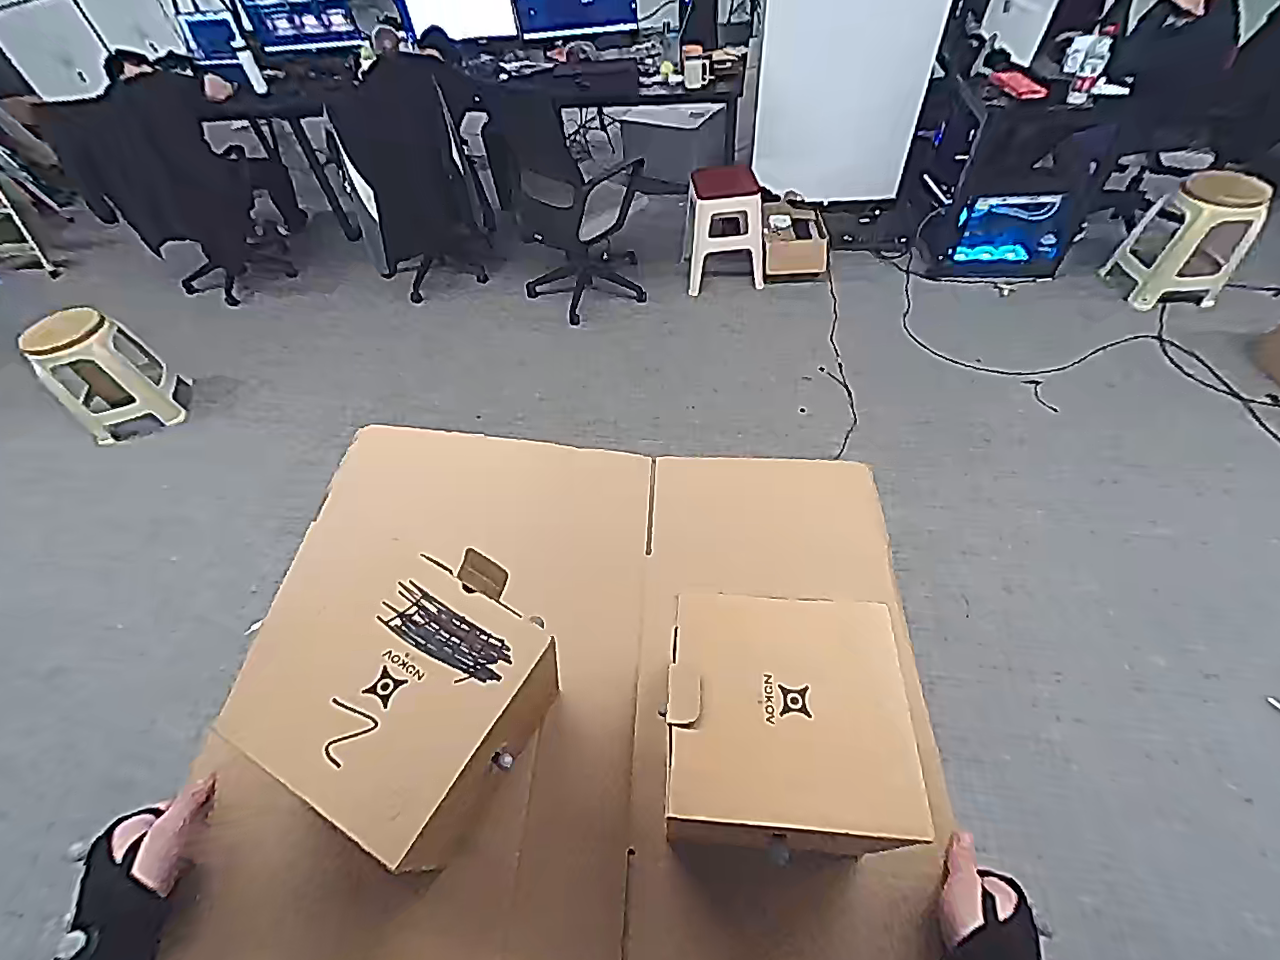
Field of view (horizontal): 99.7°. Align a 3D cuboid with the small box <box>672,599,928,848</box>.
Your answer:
[{"bbox_3d":[0.120,0.220,0.481,0.179,0.176,0.168,1,53,5],"label":"small box"}]
